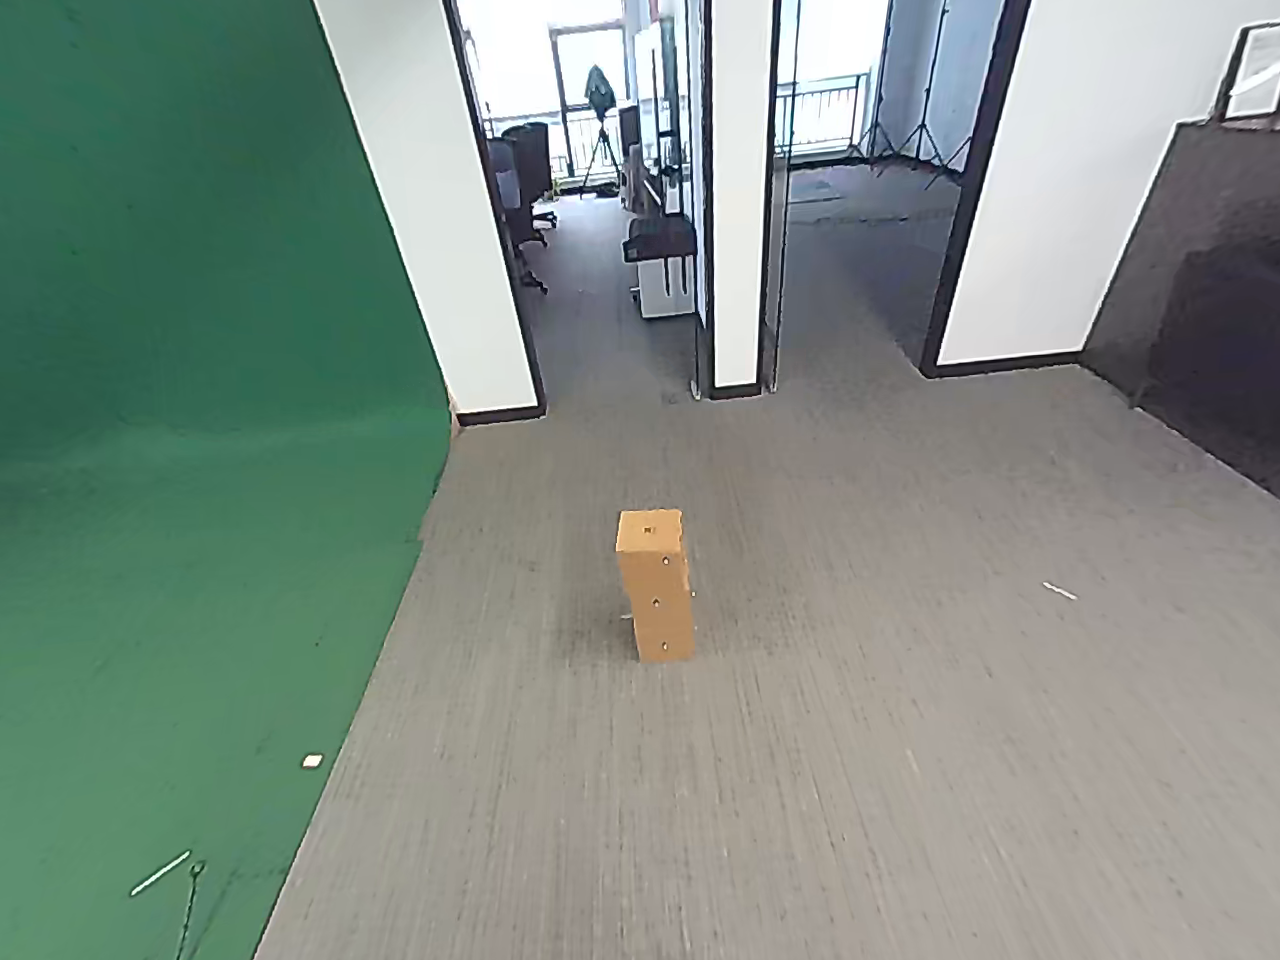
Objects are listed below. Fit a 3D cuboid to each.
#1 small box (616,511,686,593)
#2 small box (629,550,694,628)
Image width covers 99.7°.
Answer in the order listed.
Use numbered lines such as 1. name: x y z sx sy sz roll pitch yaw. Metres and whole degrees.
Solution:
1. small box: 0.037 0.206 1.539 0.179 0.176 0.168 -2 38 7
2. small box: 0.067 0.333 1.637 0.179 0.176 0.168 -4 38 5
